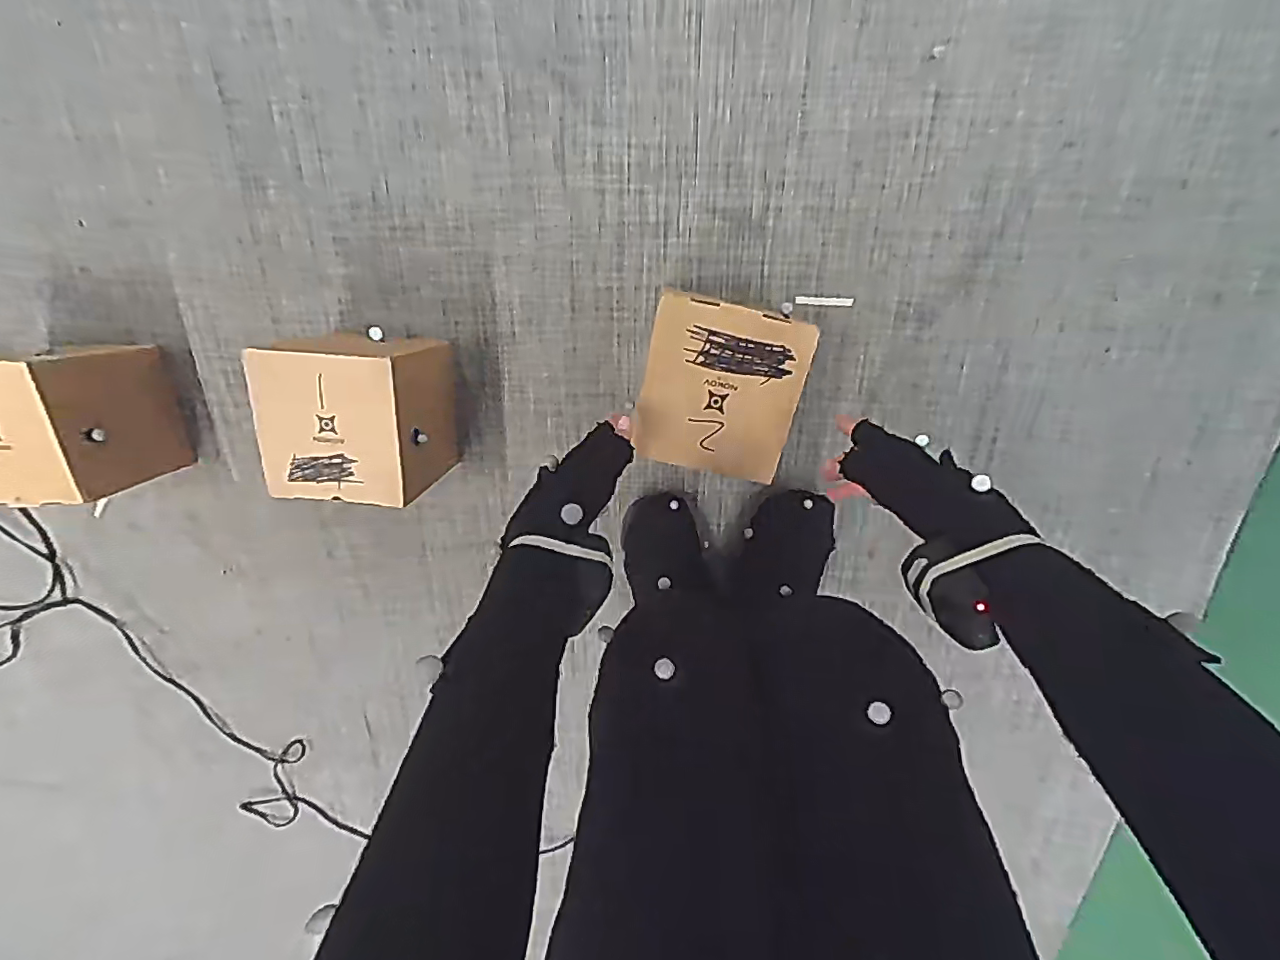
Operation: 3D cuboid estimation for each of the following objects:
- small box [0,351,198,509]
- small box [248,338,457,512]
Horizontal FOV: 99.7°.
[{"bbox_3d":[-0.745,-0.074,0.712,0.168,0.176,0.179,0,111,4],"label":"small box"},{"bbox_3d":[-0.343,-0.077,0.684,0.168,0.176,0.179,5,110,2],"label":"small box"}]
